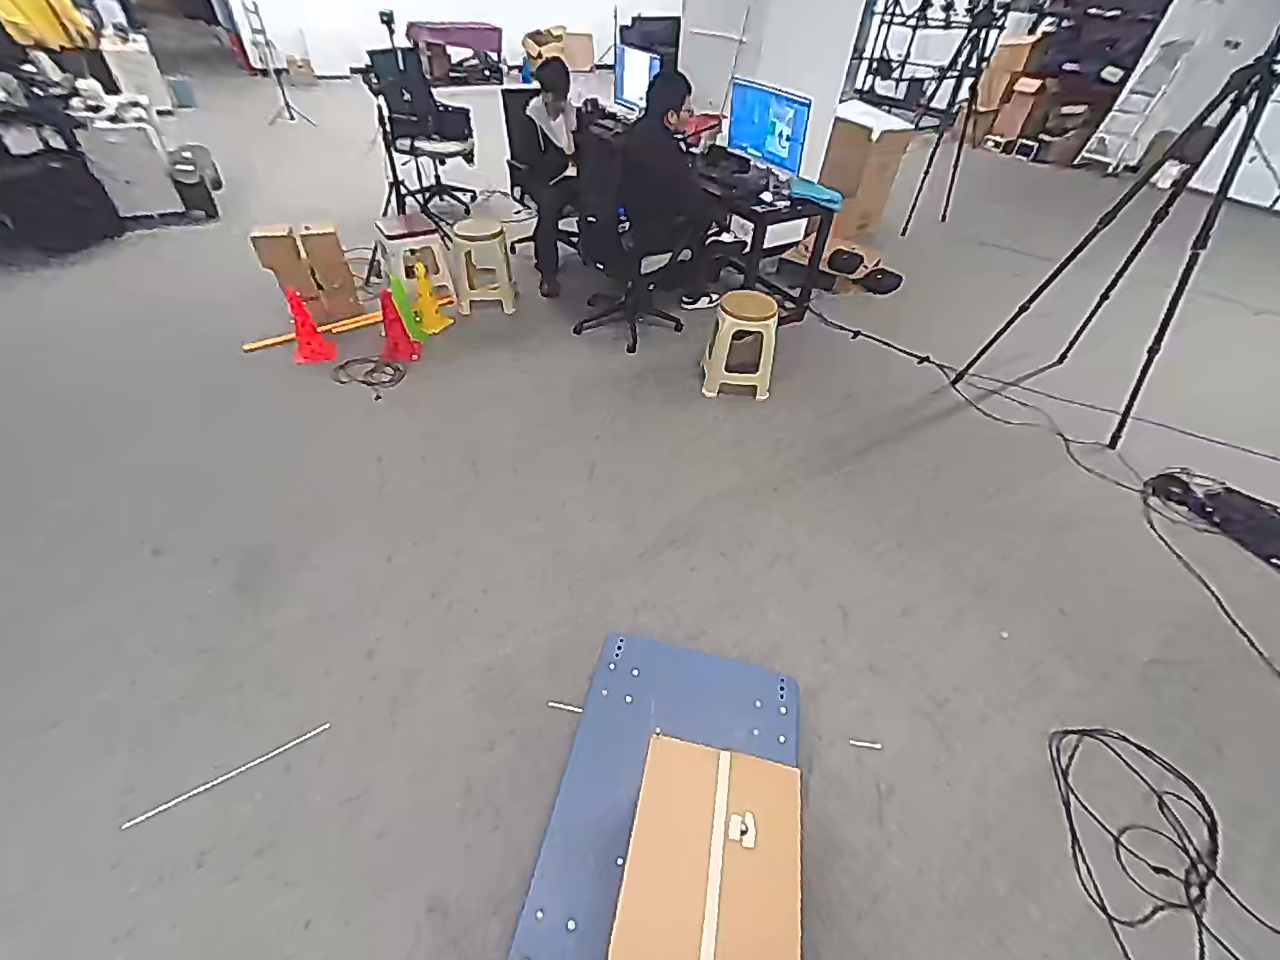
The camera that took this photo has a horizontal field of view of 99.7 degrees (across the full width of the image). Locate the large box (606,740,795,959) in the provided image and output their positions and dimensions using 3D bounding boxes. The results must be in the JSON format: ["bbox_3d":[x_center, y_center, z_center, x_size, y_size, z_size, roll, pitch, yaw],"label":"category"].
[{"bbox_3d":[0.119,0.821,1.094,0.320,0.320,0.408,12,43,6],"label":"large box"}]
